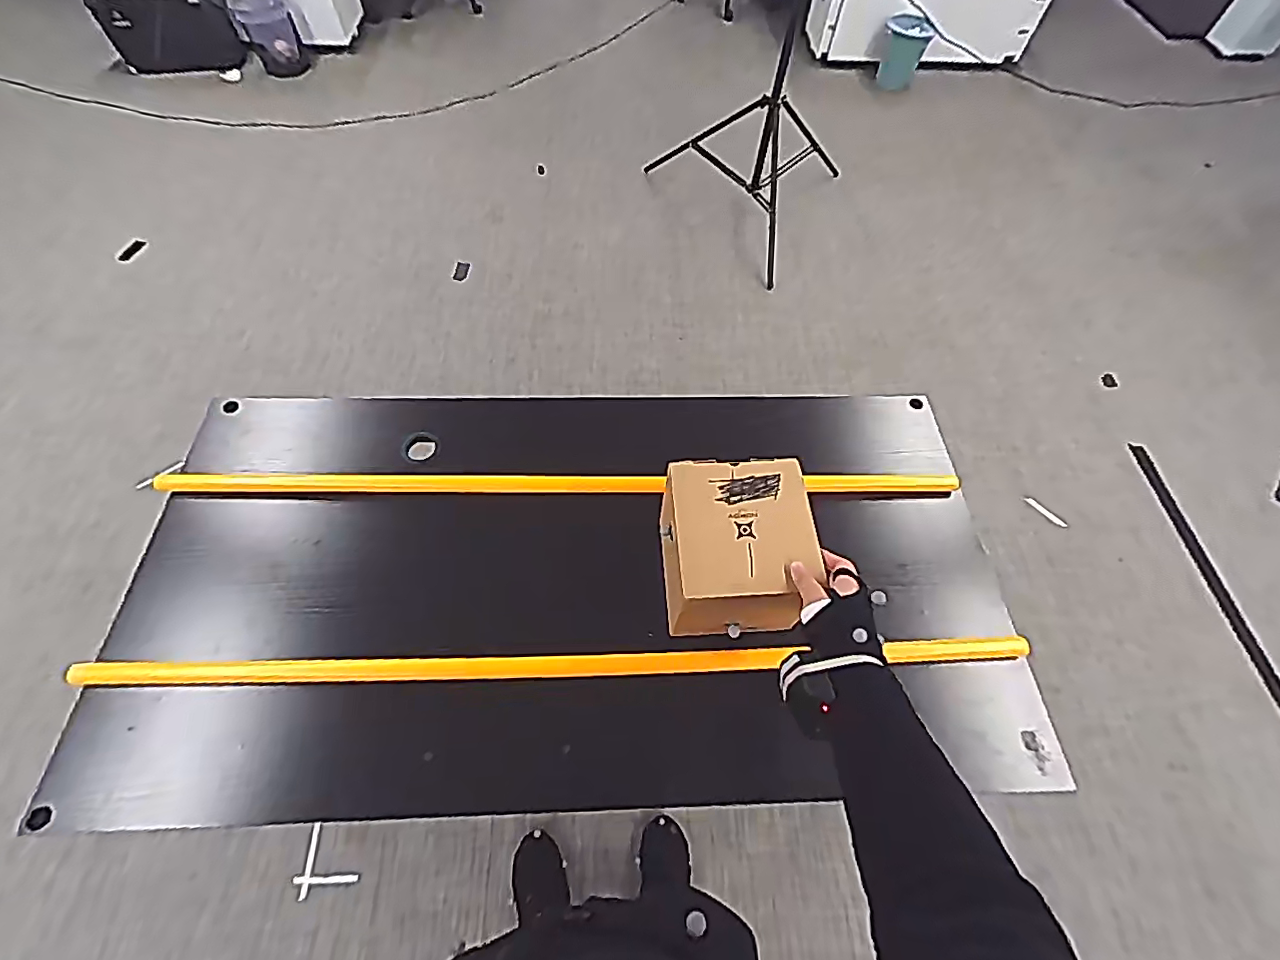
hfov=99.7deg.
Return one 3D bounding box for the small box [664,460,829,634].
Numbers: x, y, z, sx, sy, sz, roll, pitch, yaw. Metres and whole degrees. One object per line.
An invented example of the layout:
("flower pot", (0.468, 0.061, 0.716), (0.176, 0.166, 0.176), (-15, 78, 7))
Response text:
("small box", (0.122, 0.091, 0.706), (0.168, 0.176, 0.179), (-2, 61, -3))
